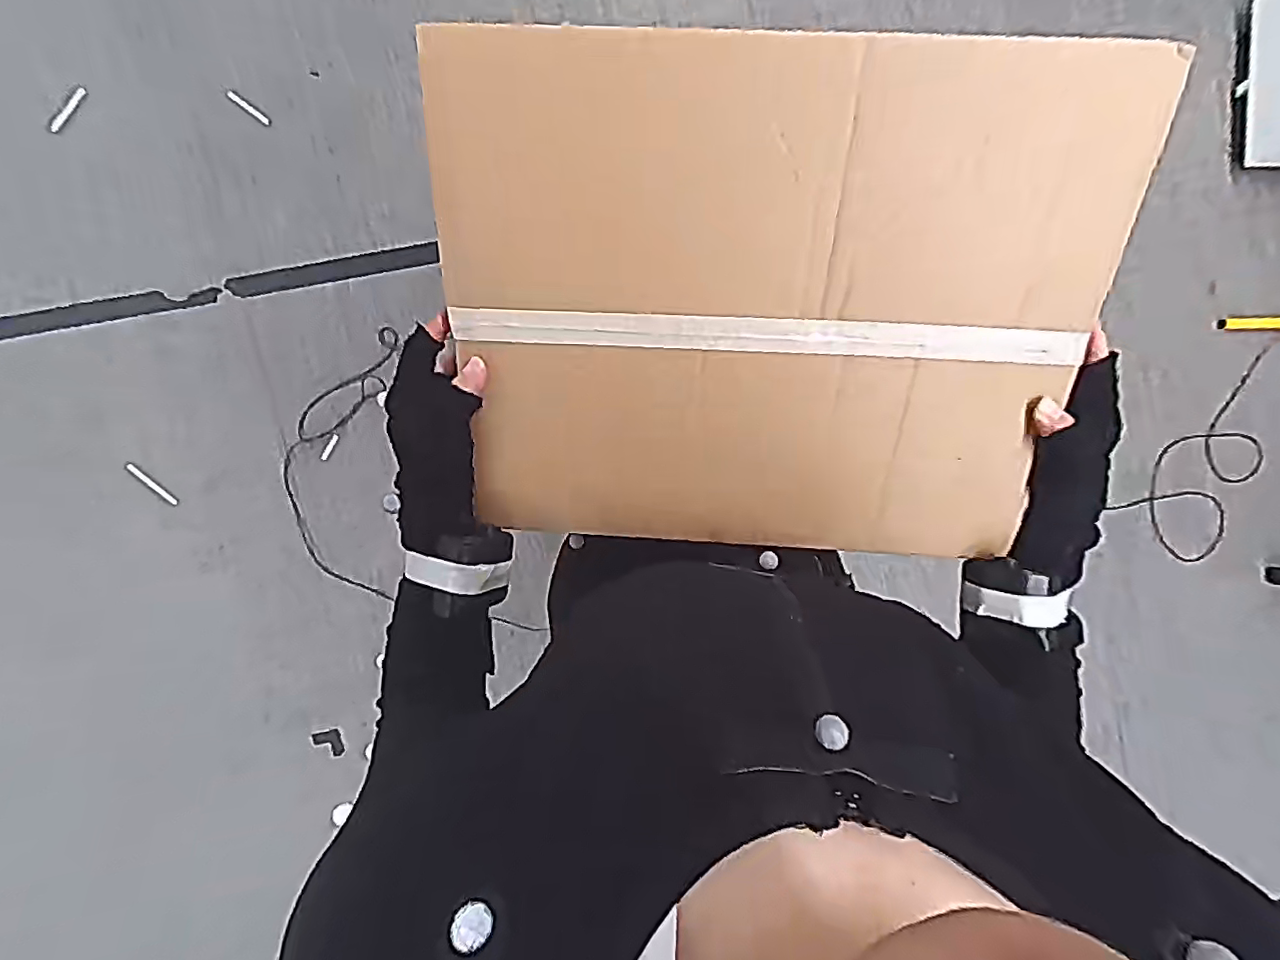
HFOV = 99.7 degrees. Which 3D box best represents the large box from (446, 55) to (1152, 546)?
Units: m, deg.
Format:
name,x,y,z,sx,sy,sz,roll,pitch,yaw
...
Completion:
name,x,y,z,sx,sy,sz,roll,pitch,yaw
large box,0.087,-0.156,0.500,0.408,0.320,0.320,3,116,2
